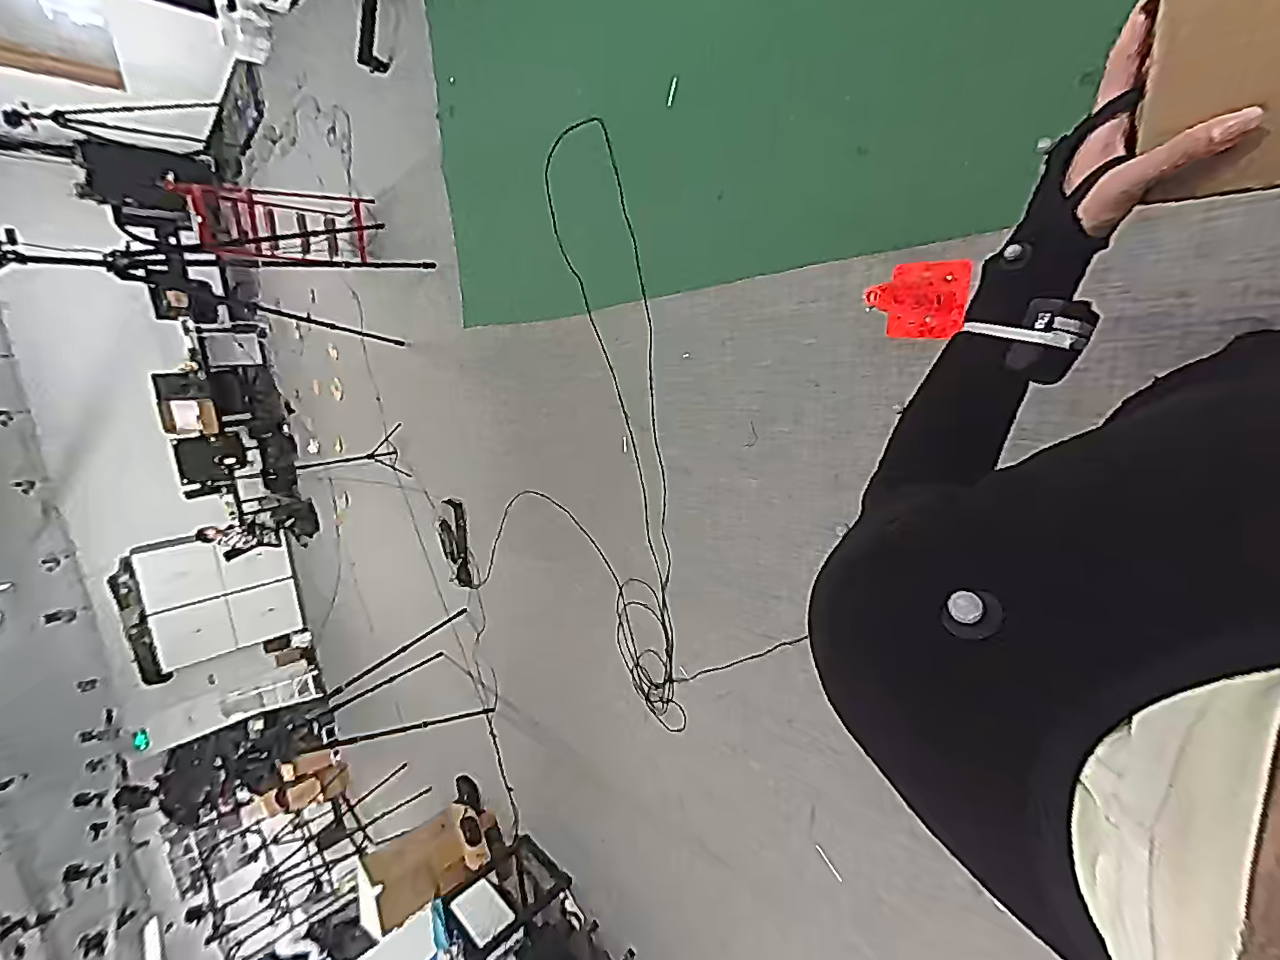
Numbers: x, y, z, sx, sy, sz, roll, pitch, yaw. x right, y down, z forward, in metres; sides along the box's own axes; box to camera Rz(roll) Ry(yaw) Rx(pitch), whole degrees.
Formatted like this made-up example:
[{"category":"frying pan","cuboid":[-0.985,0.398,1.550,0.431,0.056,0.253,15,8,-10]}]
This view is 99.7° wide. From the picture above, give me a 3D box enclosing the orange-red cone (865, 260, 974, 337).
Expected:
[{"category":"orange-red cone","cuboid":[0.662,-0.463,1.362,0.199,0.360,0.198,18,113,44]}]
